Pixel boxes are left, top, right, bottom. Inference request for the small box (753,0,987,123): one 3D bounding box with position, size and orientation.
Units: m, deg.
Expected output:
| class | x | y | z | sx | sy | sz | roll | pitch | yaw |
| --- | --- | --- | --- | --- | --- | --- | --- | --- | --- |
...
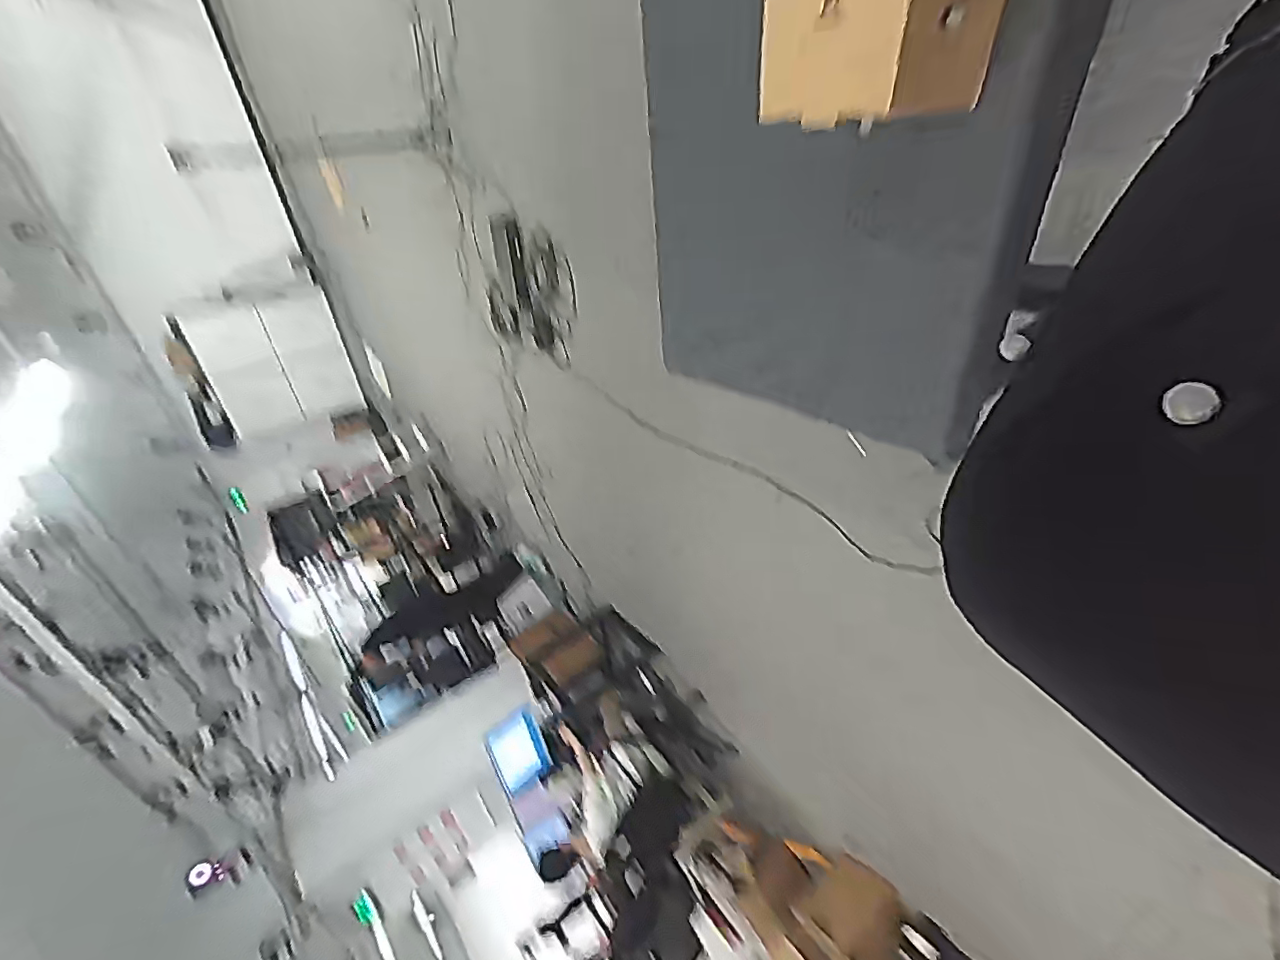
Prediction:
| class | x | y | z | sx | sy | sz | roll | pitch | yaw |
| --- | --- | --- | --- | --- | --- | --- | --- | --- | --- |
| small box | 0.236 | -0.480 | 0.555 | 0.168 | 0.176 | 0.179 | 35 | 142 | 42 |
